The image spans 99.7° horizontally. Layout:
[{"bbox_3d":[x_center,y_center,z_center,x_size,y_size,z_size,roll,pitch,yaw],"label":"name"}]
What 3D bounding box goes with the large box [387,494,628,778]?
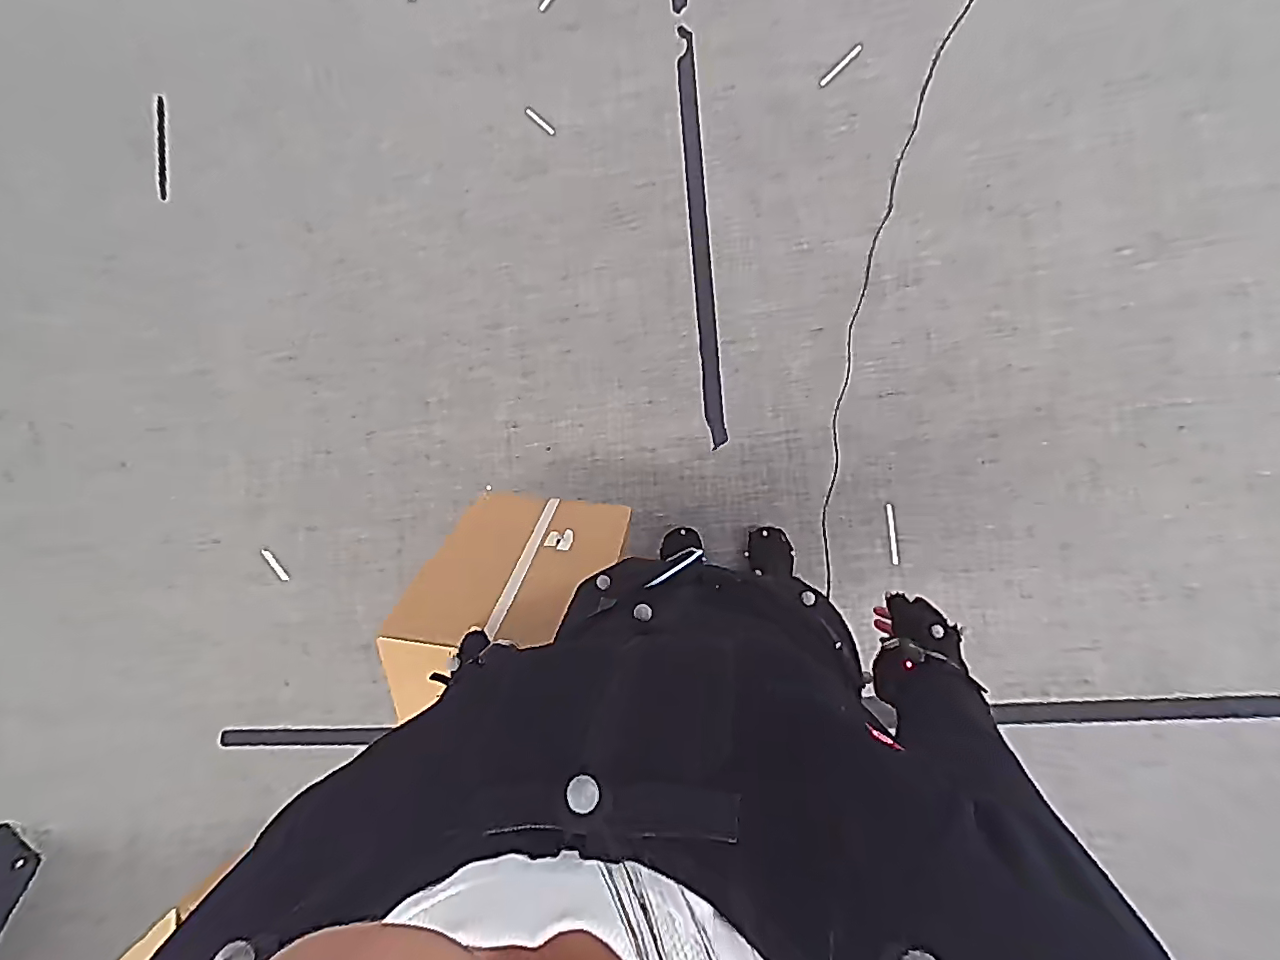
[{"bbox_3d":[-0.206,0.271,1.021,0.320,0.408,0.320,7,120,6],"label":"large box"}]
